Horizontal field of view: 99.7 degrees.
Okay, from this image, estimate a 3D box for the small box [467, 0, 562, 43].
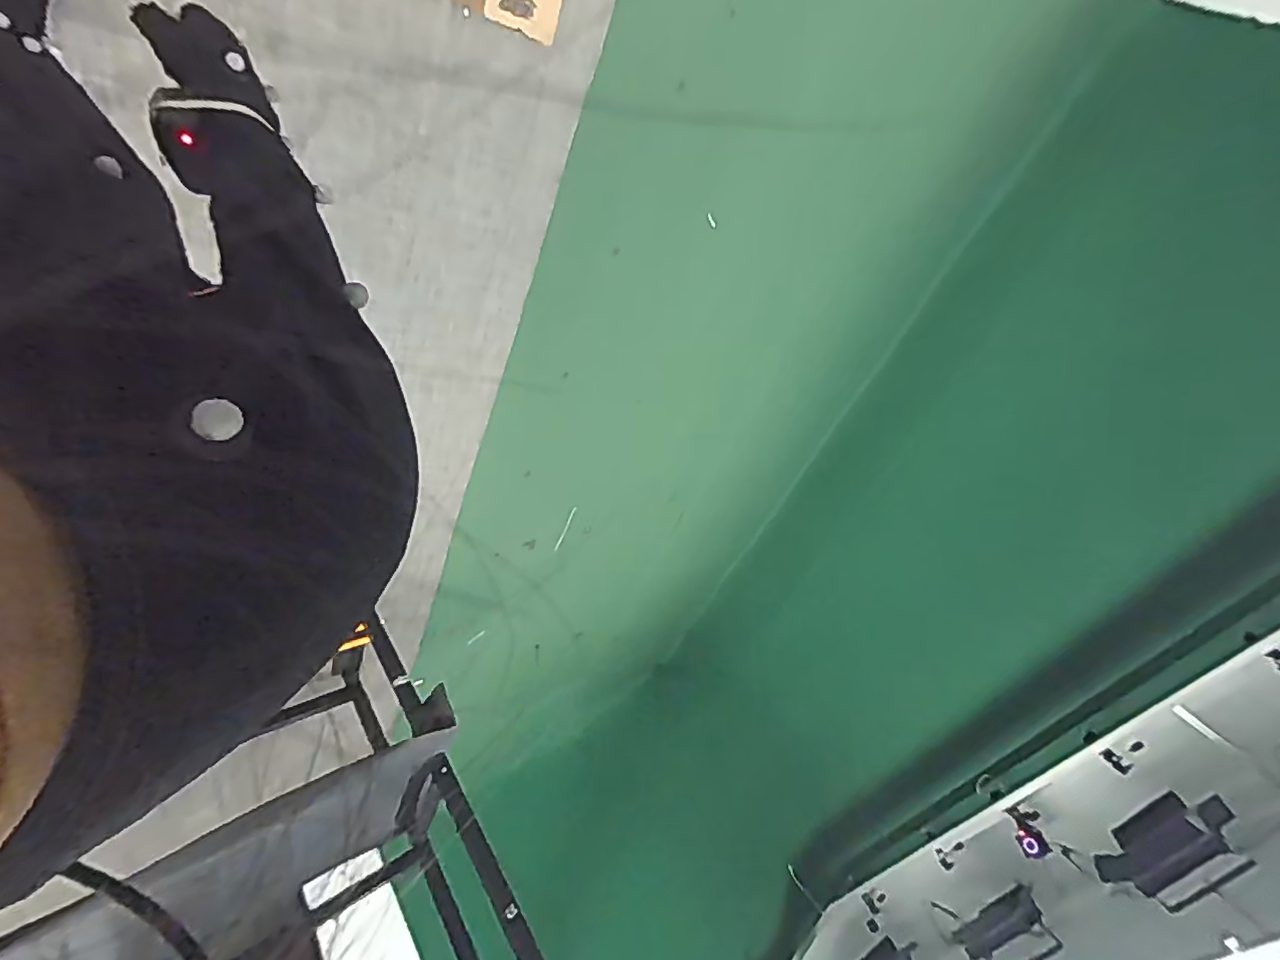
[{"bbox_3d":[-0.263,-1.042,1.096,0.168,0.176,0.179,-12,139,-44],"label":"small box"}]
